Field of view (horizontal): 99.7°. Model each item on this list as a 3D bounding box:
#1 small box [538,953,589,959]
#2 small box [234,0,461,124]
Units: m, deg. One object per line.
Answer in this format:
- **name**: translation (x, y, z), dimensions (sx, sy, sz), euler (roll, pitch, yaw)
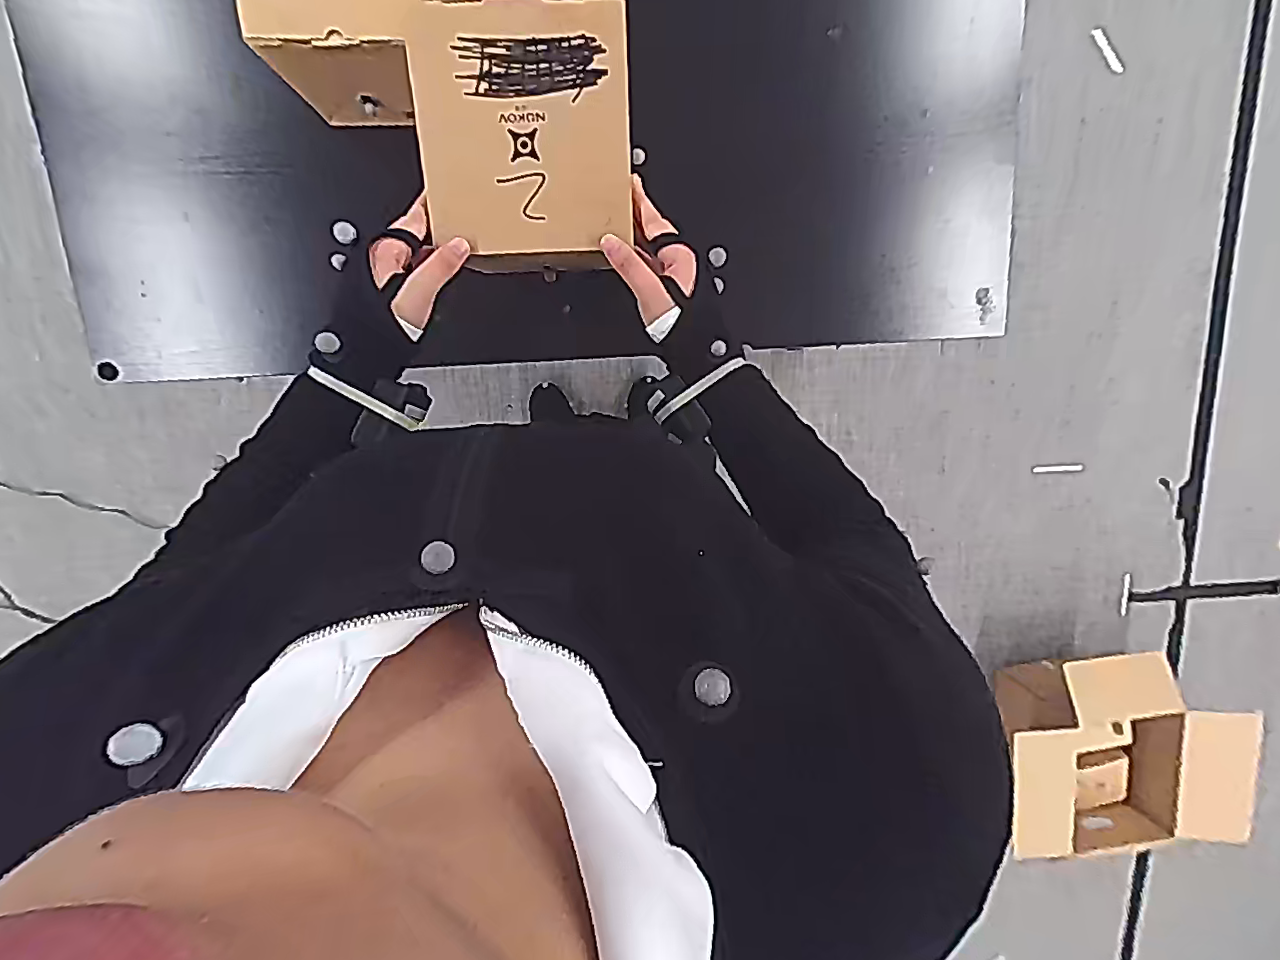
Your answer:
- **small box**: translation (-0.238, 1.598, 1.655), dimensions (0.168, 0.176, 0.179), euler (1, 98, -5)
- **small box**: translation (-0.294, -0.507, 0.564), dimensions (0.168, 0.176, 0.179), euler (-3, 101, -4)
